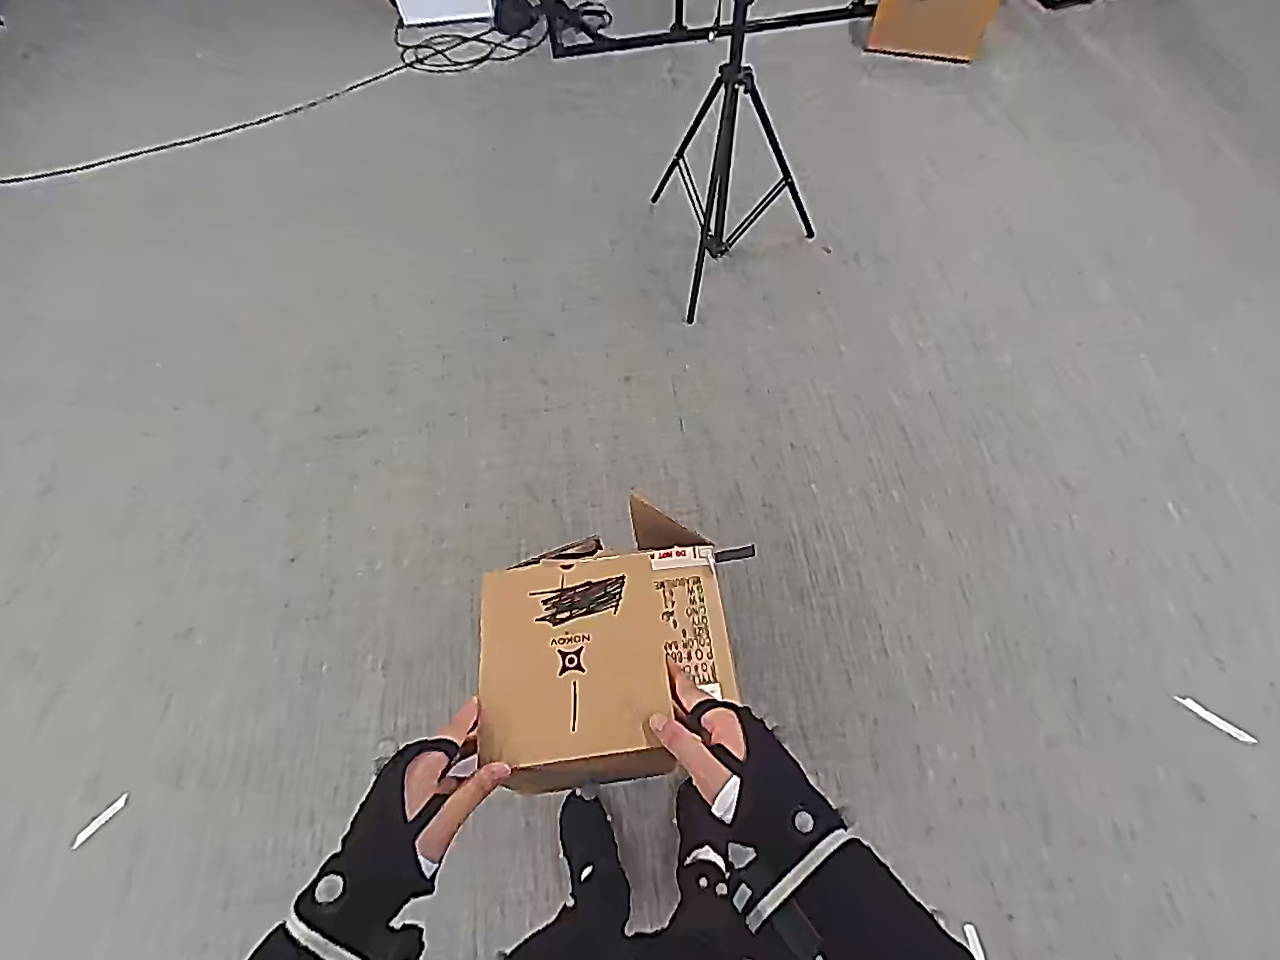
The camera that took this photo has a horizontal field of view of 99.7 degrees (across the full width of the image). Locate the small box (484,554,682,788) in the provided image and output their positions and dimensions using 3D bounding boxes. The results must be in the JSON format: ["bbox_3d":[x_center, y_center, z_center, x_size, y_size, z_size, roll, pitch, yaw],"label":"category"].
[{"bbox_3d":[-0.053,0.199,0.556,0.168,0.176,0.179,-8,55,-2],"label":"small box"}]
